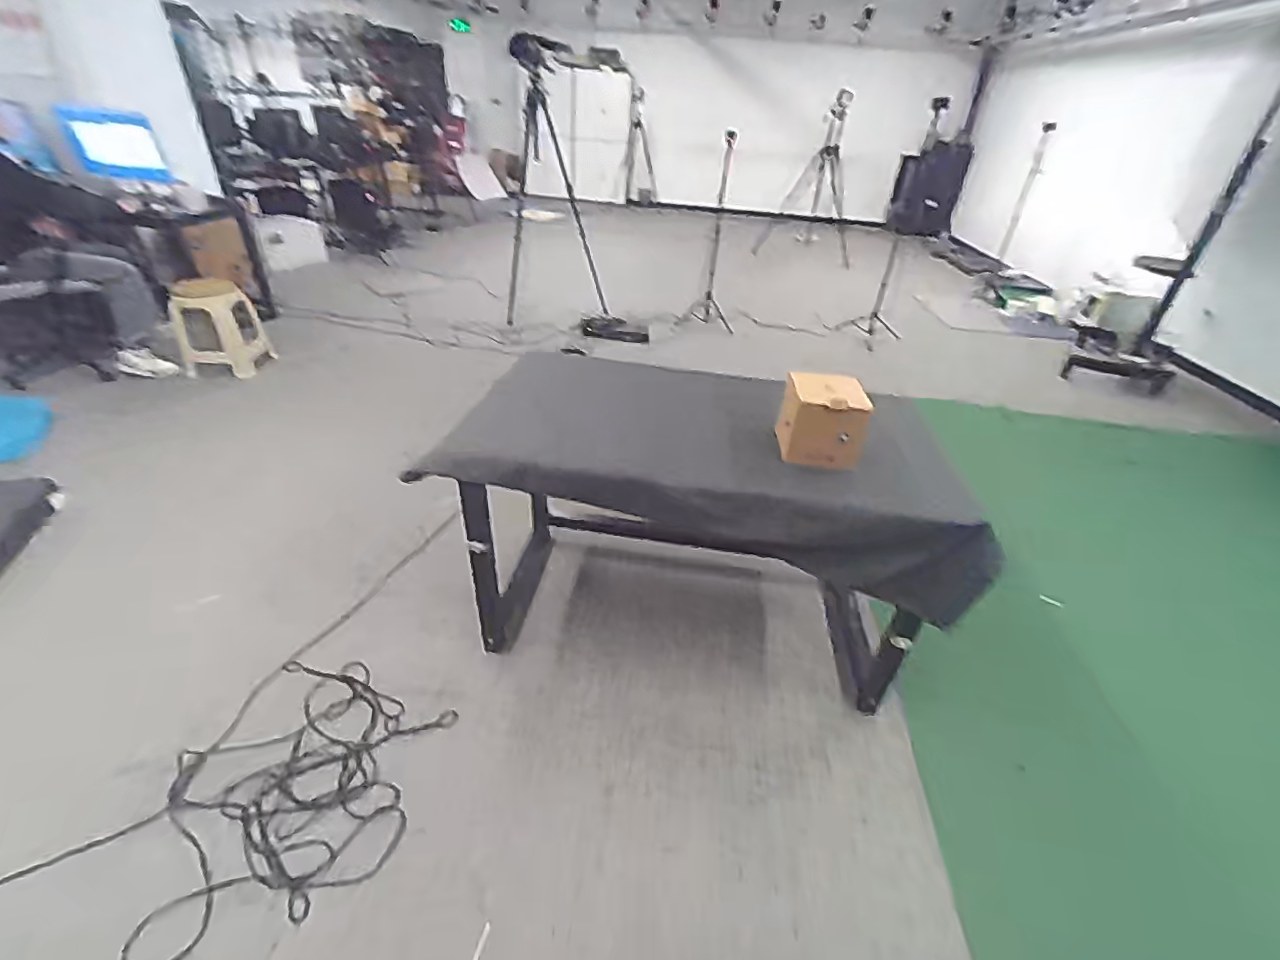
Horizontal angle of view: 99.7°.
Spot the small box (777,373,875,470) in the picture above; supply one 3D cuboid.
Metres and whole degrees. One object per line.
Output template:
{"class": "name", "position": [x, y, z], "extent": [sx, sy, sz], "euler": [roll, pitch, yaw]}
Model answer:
{"class": "small box", "position": [0.435, -0.140, 1.295], "extent": [0.168, 0.176, 0.179], "euler": [7, 33, 1]}
